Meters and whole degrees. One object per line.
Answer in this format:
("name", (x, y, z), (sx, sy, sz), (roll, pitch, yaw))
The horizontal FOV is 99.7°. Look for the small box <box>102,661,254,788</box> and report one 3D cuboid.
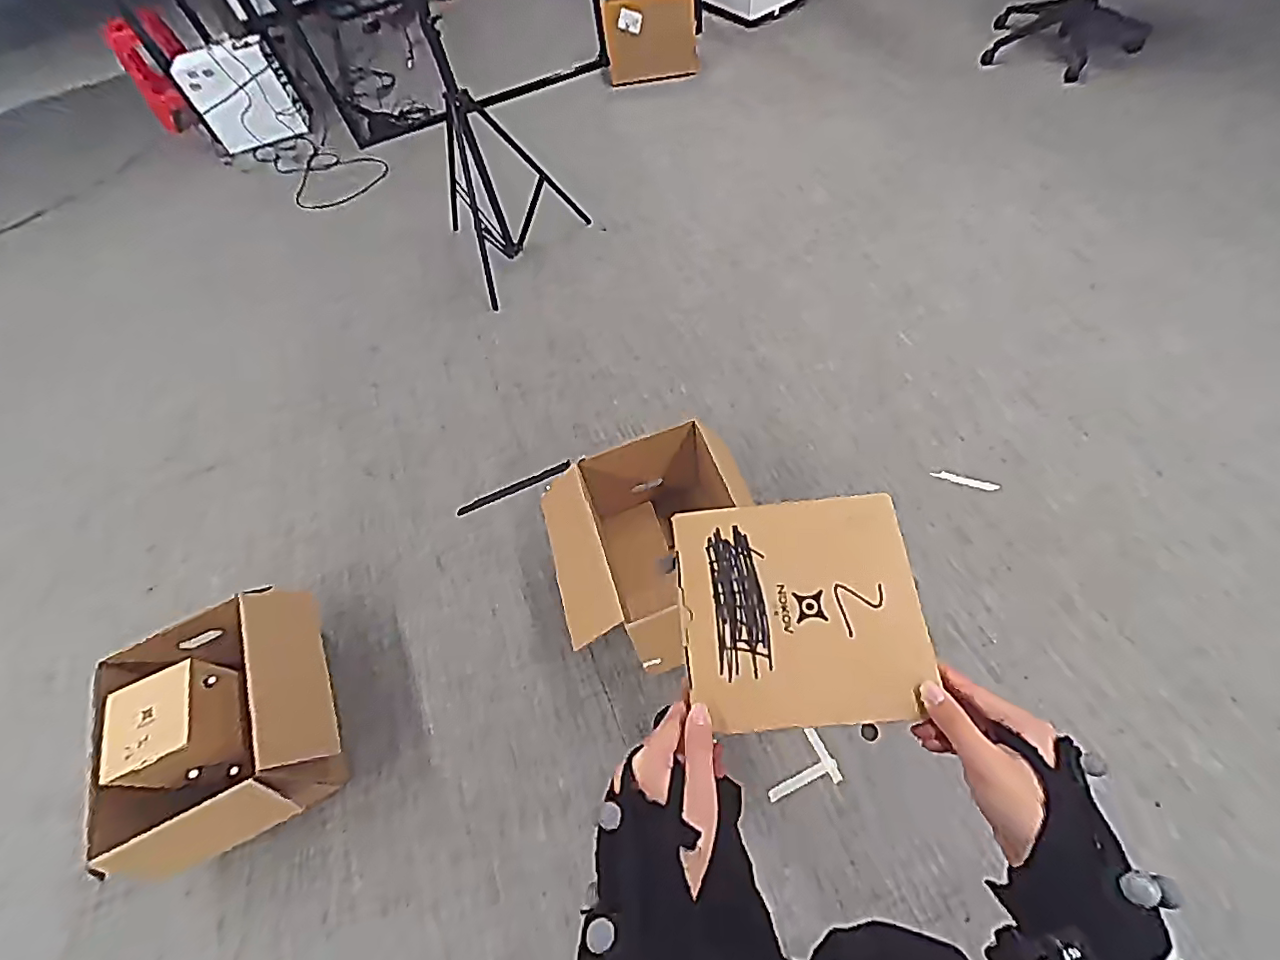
("small box", (-0.927, 0.503, 1.102), (0.168, 0.176, 0.179), (-25, 59, -6))
